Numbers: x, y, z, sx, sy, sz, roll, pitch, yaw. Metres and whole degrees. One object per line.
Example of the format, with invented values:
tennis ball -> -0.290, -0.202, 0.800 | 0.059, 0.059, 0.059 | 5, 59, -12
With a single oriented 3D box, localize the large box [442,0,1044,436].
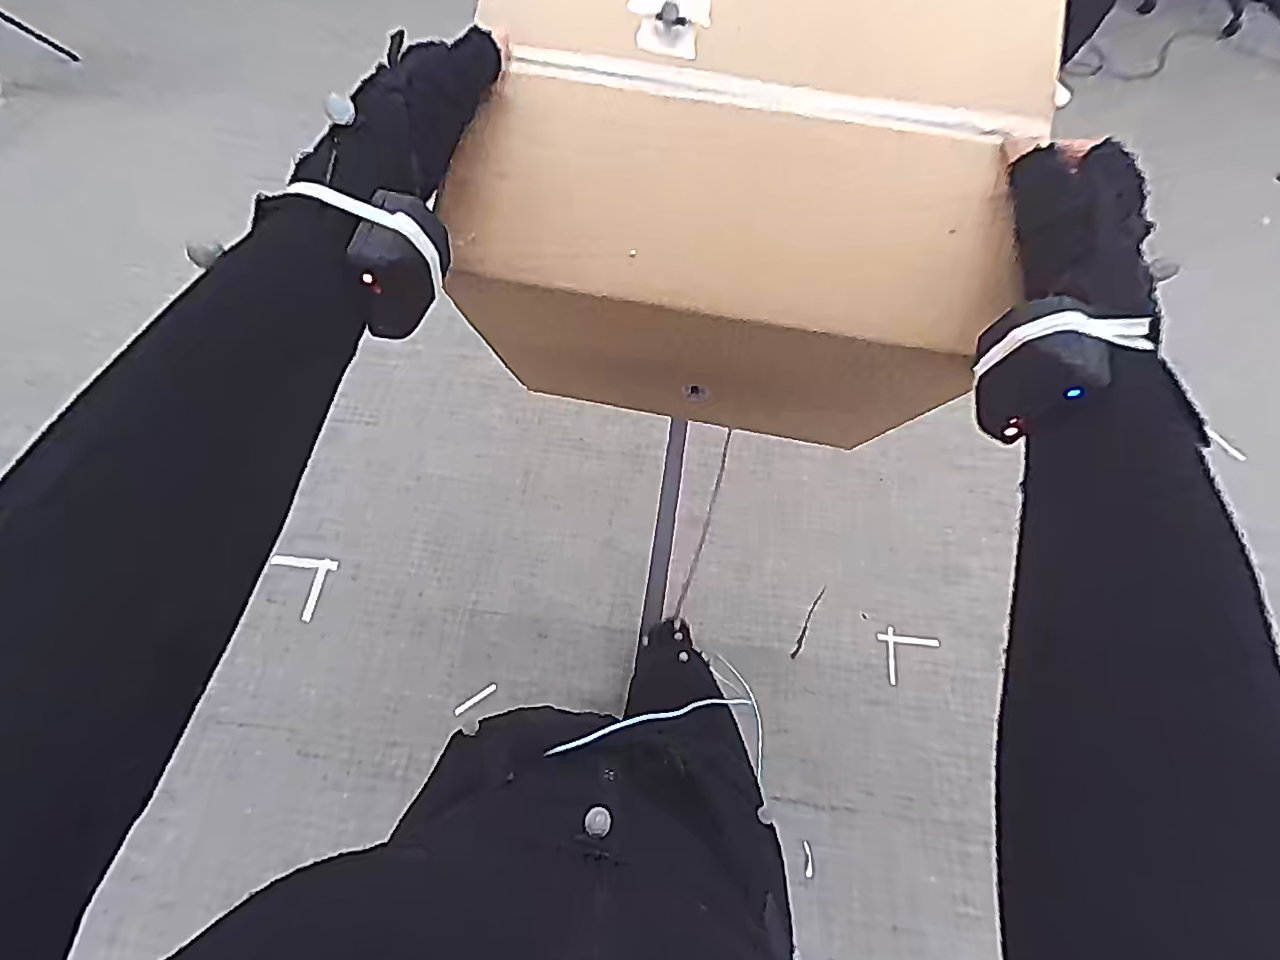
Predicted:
large box -> 0.086, -0.247, 0.541 | 0.408, 0.320, 0.320 | 11, 83, 4
